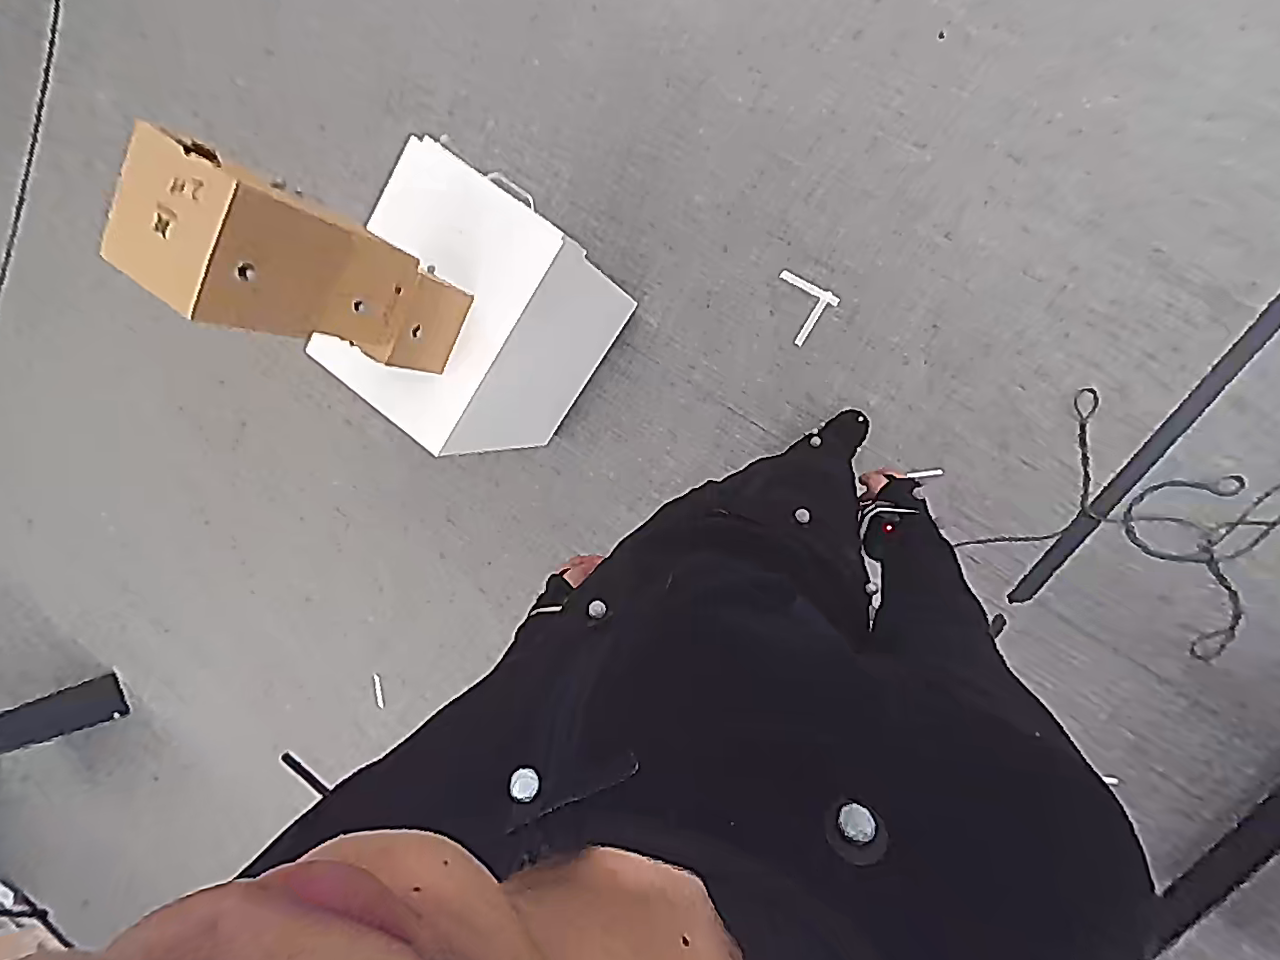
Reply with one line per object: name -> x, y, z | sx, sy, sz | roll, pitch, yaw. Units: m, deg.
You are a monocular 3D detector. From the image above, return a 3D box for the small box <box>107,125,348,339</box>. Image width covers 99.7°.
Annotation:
small box -> -0.529, -0.307, 0.713 | 0.168, 0.176, 0.179 | 33, 103, 9

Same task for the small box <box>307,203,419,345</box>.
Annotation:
small box -> -0.496, -0.332, 0.873 | 0.179, 0.176, 0.168 | 31, 102, 11

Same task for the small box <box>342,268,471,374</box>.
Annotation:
small box -> -0.454, -0.318, 1.032 | 0.168, 0.176, 0.179 | 30, 101, 10
